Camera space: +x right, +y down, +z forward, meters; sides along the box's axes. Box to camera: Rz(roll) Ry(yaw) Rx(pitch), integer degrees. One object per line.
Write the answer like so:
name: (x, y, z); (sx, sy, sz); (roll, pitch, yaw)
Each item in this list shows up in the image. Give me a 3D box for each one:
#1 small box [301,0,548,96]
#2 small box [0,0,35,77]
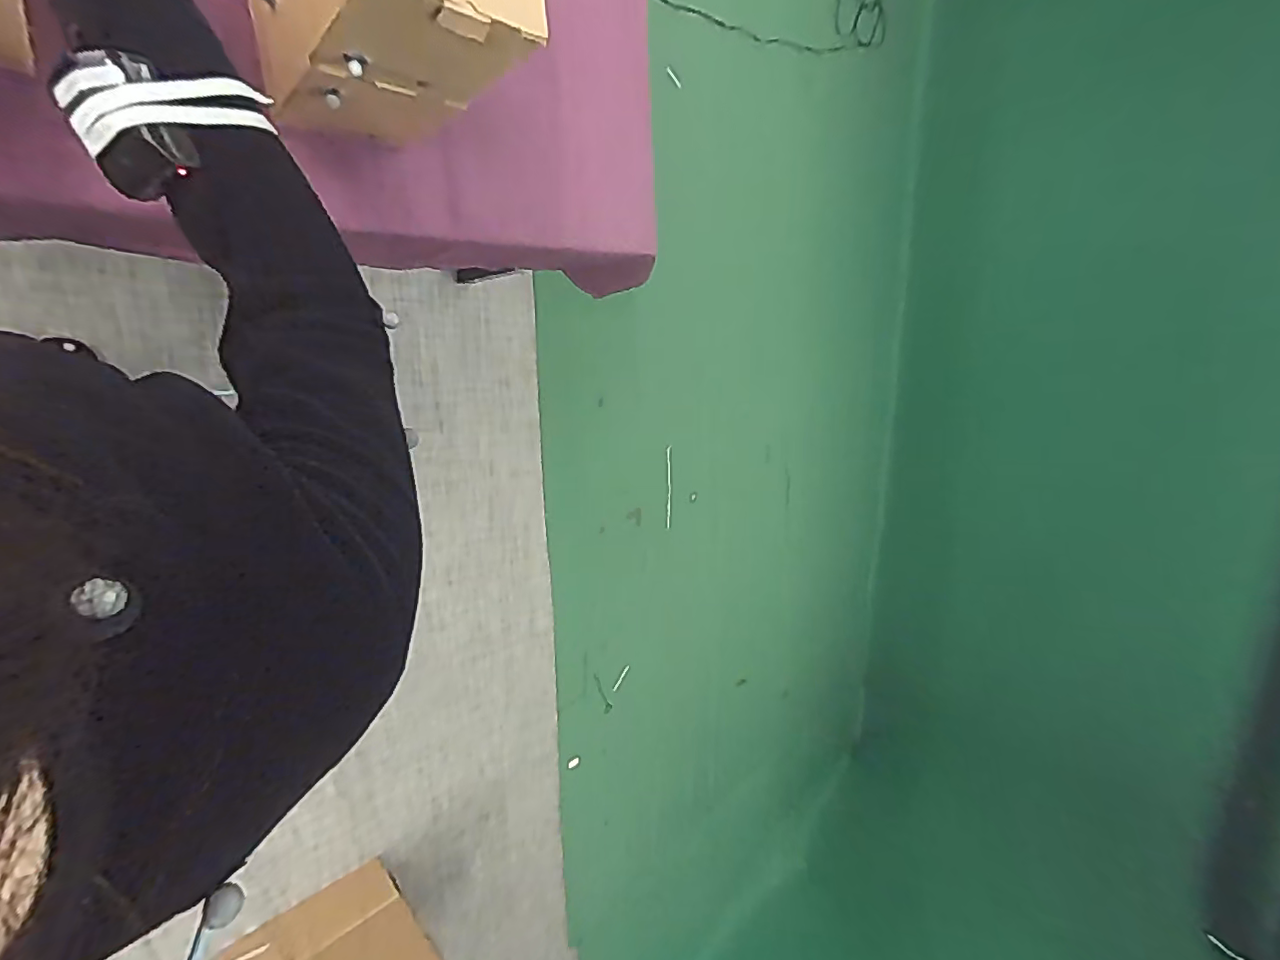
small box: (-0.207, -0.491, 0.495); (0.168, 0.176, 0.179); (-18, 109, -42)
small box: (-0.567, -0.431, 0.376); (0.168, 0.176, 0.179); (-16, 109, -42)
